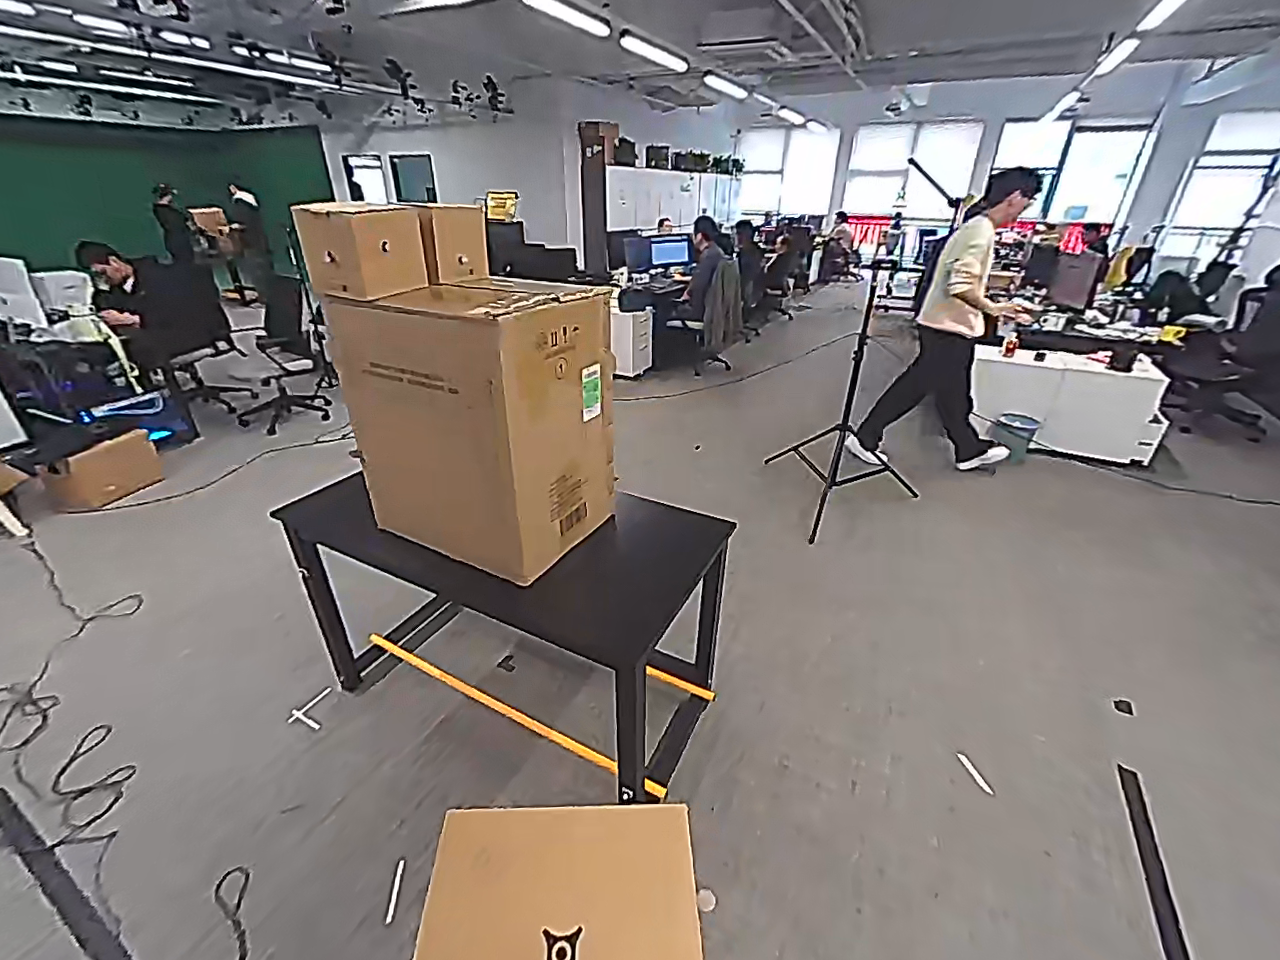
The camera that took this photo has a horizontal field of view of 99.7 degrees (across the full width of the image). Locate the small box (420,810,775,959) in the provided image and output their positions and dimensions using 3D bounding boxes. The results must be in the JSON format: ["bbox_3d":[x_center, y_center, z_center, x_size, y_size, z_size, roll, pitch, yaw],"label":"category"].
[{"bbox_3d":[-0.021,0.299,0.272,0.168,0.176,0.179,0,36,-4],"label":"small box"}]

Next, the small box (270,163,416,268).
[{"bbox_3d":[-0.577,-0.529,1.077,0.168,0.176,0.179,15,35,19],"label":"small box"}]

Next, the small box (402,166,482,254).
[{"bbox_3d":[-0.486,-0.617,1.241,0.179,0.176,0.168,17,31,24],"label":"small box"}]
